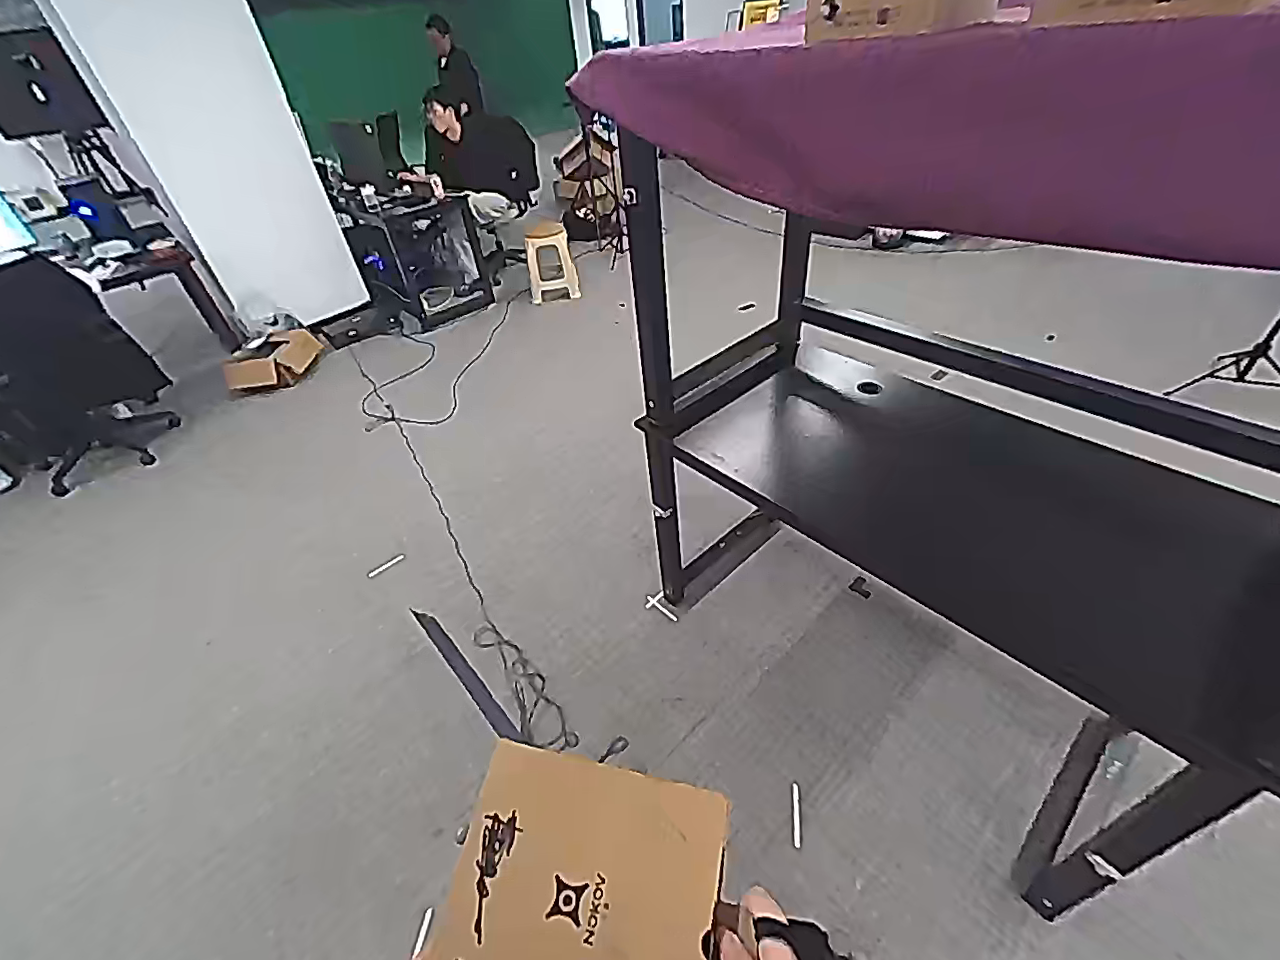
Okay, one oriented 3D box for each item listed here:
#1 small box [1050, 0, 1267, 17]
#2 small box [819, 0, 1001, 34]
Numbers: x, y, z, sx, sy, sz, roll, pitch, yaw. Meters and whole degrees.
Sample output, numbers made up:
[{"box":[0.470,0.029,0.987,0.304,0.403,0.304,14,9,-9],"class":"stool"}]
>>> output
[{"box":[0.493,-0.511,0.460,0.179,0.176,0.168,-34,47,-29],"class":"small box"},{"box":[0.323,-0.627,0.620,0.179,0.176,0.168,-34,47,-29],"class":"small box"}]
